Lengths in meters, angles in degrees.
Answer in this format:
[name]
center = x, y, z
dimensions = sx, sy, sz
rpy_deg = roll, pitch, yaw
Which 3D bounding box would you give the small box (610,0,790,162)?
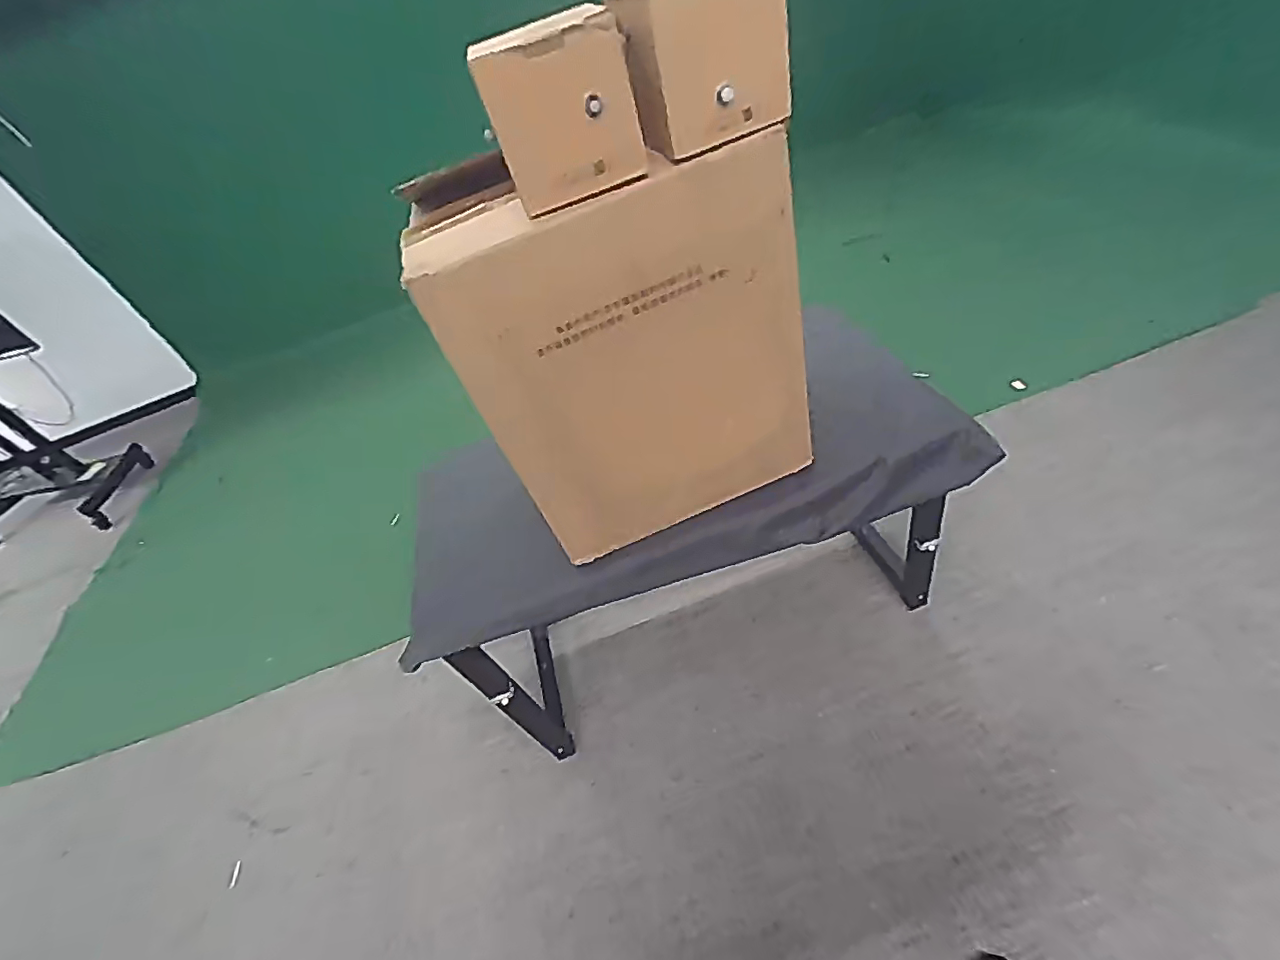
[small box]
center = 0.078, -0.536, 0.697
dimensions = 0.168, 0.176, 0.179
rpy_deg = -23, 44, -3
